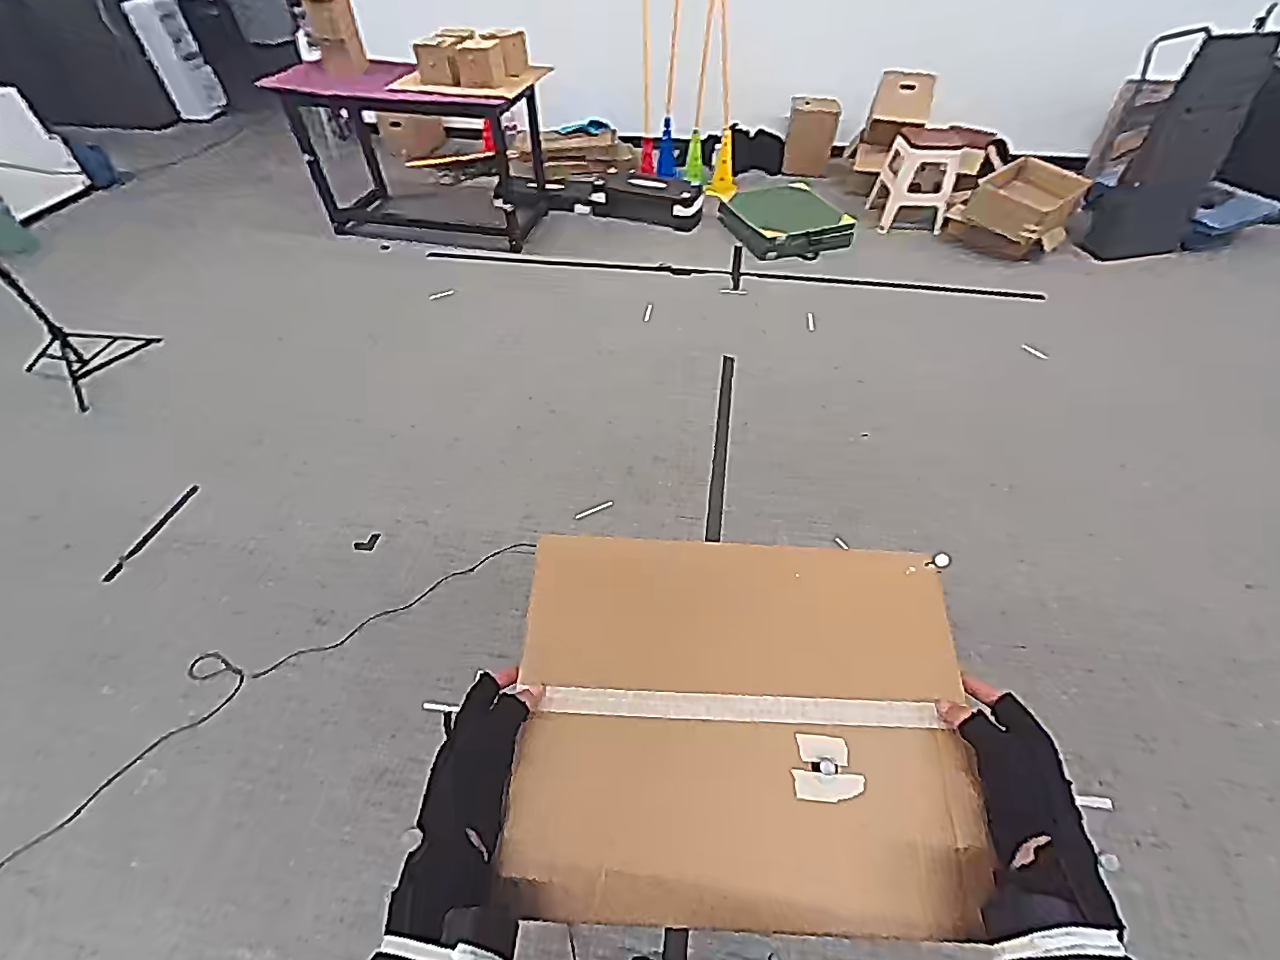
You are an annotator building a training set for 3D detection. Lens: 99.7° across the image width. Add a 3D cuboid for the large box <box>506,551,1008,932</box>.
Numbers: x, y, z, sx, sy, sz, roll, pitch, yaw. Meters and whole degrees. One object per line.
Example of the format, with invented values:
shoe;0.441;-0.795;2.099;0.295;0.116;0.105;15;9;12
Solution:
large box;0.089;0.286;0.621;0.408;0.320;0.320;2;62;-1
